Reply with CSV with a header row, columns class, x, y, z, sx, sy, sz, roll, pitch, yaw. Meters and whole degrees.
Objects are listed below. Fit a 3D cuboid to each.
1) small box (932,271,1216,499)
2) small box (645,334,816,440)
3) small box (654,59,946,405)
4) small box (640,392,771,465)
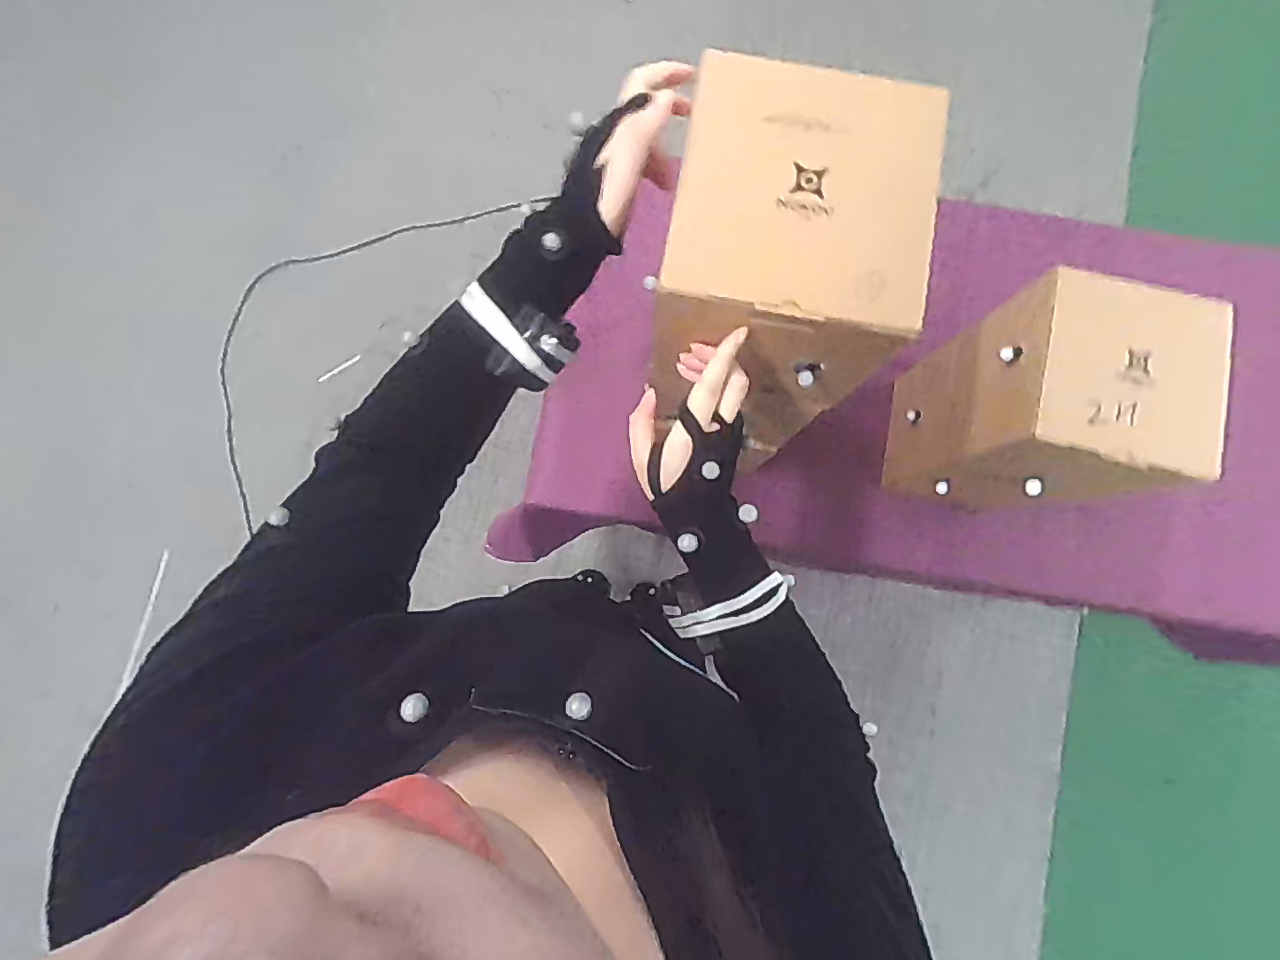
class,x,y,z,sx,sy,sz,roll,pitch,yaw
small box,0.448,-0.088,0.585,0.168,0.176,0.179,15,83,2
small box,0.105,-0.154,0.590,0.168,0.176,0.179,13,82,1
small box,0.106,-0.172,0.428,0.168,0.176,0.179,11,82,0
small box,0.098,-0.127,0.753,0.168,0.176,0.179,13,83,0
